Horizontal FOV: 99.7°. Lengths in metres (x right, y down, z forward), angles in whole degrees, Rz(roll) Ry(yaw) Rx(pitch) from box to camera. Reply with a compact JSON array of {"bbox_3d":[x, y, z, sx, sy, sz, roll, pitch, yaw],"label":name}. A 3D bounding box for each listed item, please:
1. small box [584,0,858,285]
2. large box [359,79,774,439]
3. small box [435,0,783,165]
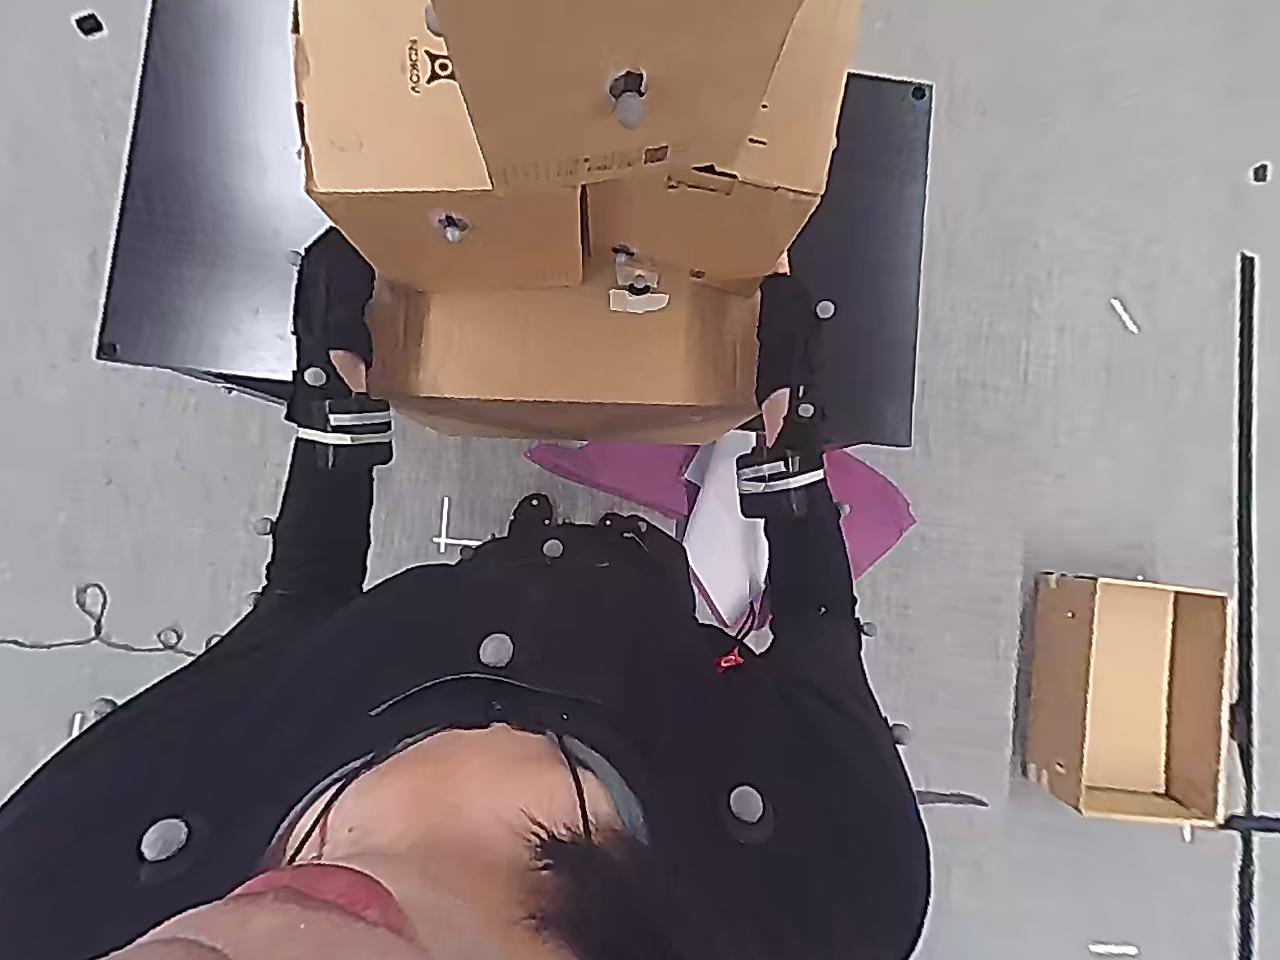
[{"bbox_3d":[0.054,-0.288,0.446,0.168,0.176,0.179,13,84,-3],"label":"small box"},{"bbox_3d":[-0.081,-0.225,0.676,0.408,0.320,0.320,1,87,-6],"label":"large box"},{"bbox_3d":[-0.023,-0.291,0.276,0.168,0.176,0.179,-11,89,-5],"label":"small box"}]
